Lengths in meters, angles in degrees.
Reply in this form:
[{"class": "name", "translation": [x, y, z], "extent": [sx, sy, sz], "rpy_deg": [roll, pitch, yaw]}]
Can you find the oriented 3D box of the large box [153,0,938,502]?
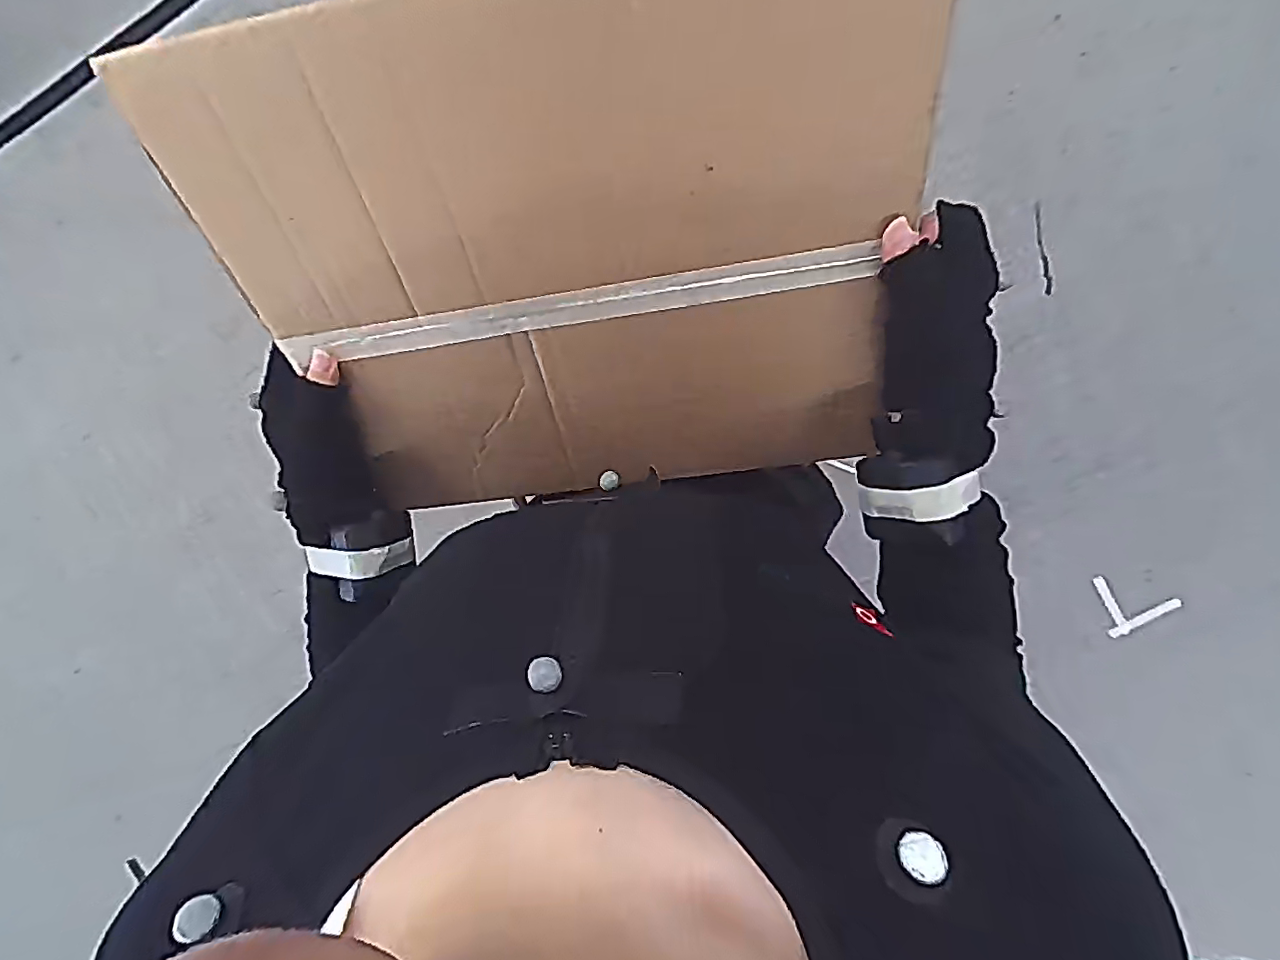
[{"class": "large box", "translation": [-0.032, -0.217, 0.462], "extent": [0.408, 0.320, 0.320], "rpy_deg": [-7, 132, 7]}]
